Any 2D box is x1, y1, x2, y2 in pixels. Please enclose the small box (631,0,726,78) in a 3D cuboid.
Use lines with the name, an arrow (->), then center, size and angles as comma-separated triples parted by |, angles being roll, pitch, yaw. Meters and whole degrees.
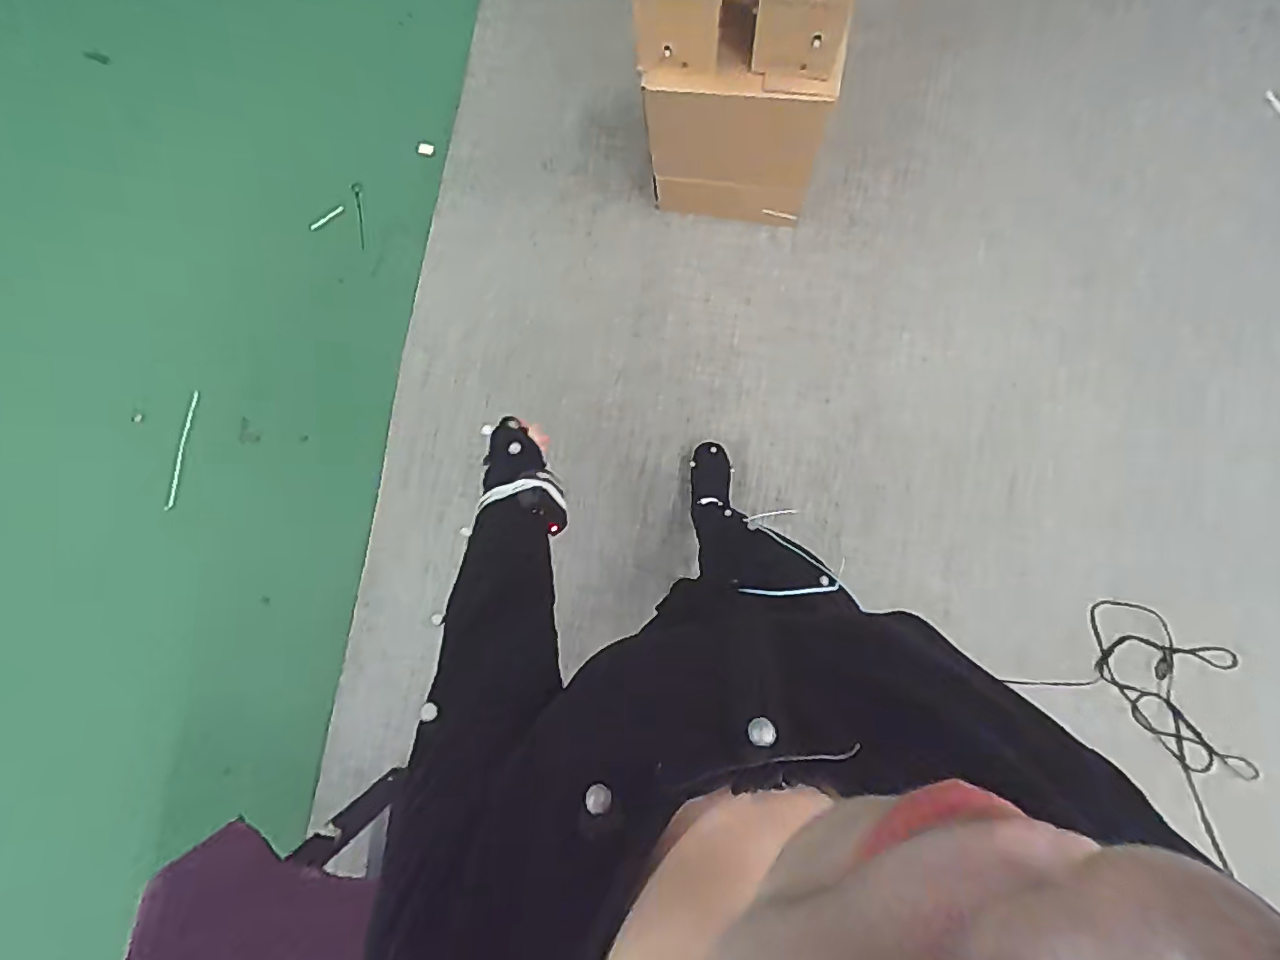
small box -> 0.080, -0.939, 1.056 | 0.168, 0.176, 0.179 | 10, 87, 5

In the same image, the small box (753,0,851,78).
small box -> 0.315, -0.914, 1.029 | 0.168, 0.176, 0.179 | 12, 86, 7
